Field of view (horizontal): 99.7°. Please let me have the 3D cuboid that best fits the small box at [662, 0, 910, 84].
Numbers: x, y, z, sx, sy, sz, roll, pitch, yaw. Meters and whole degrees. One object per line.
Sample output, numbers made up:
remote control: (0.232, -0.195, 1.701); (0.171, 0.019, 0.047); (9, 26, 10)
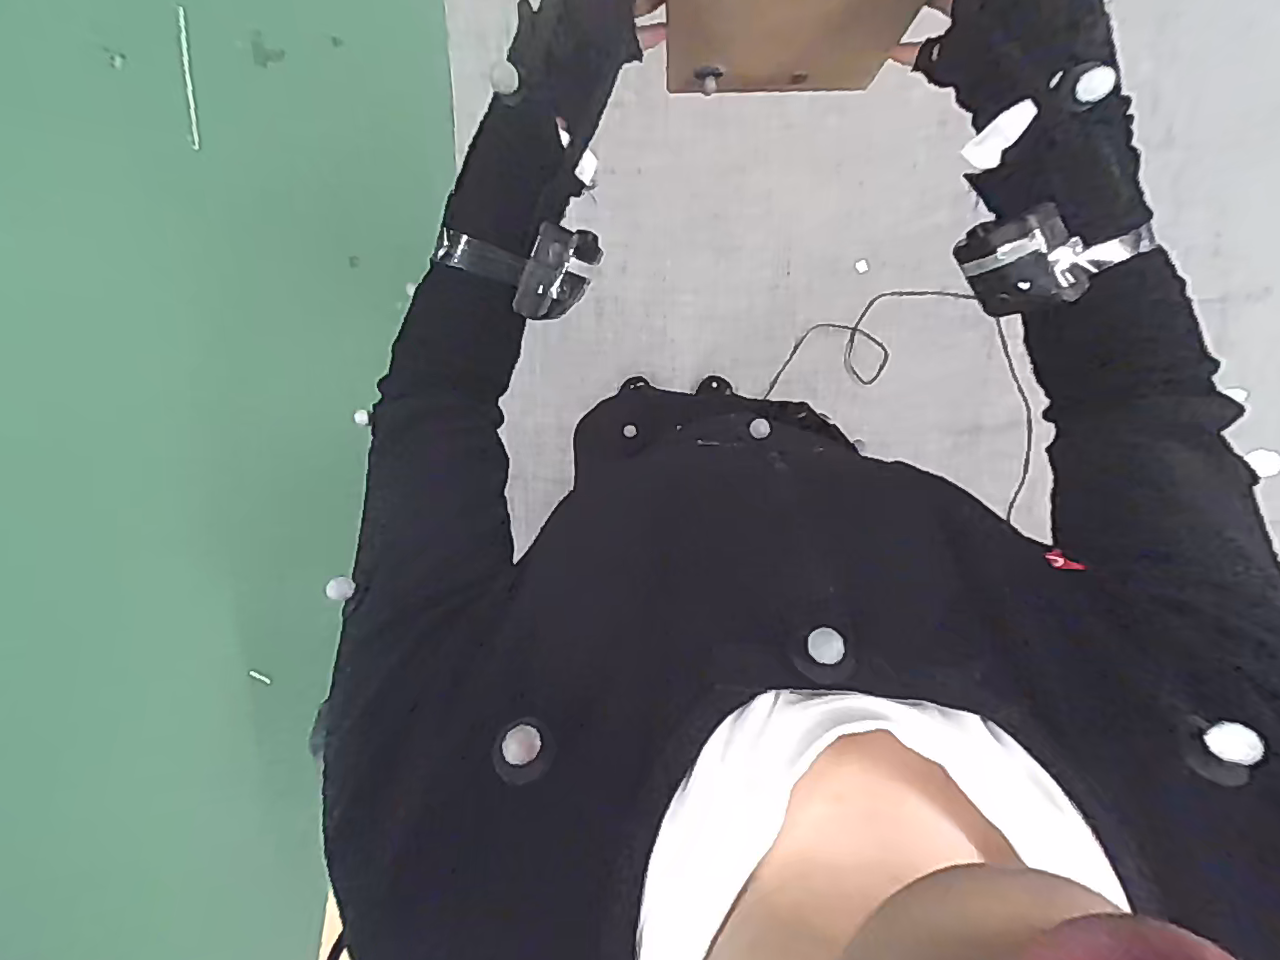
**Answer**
small box: (0.099, -0.390, 0.348); (0.168, 0.176, 0.179); (1, 99, 3)
